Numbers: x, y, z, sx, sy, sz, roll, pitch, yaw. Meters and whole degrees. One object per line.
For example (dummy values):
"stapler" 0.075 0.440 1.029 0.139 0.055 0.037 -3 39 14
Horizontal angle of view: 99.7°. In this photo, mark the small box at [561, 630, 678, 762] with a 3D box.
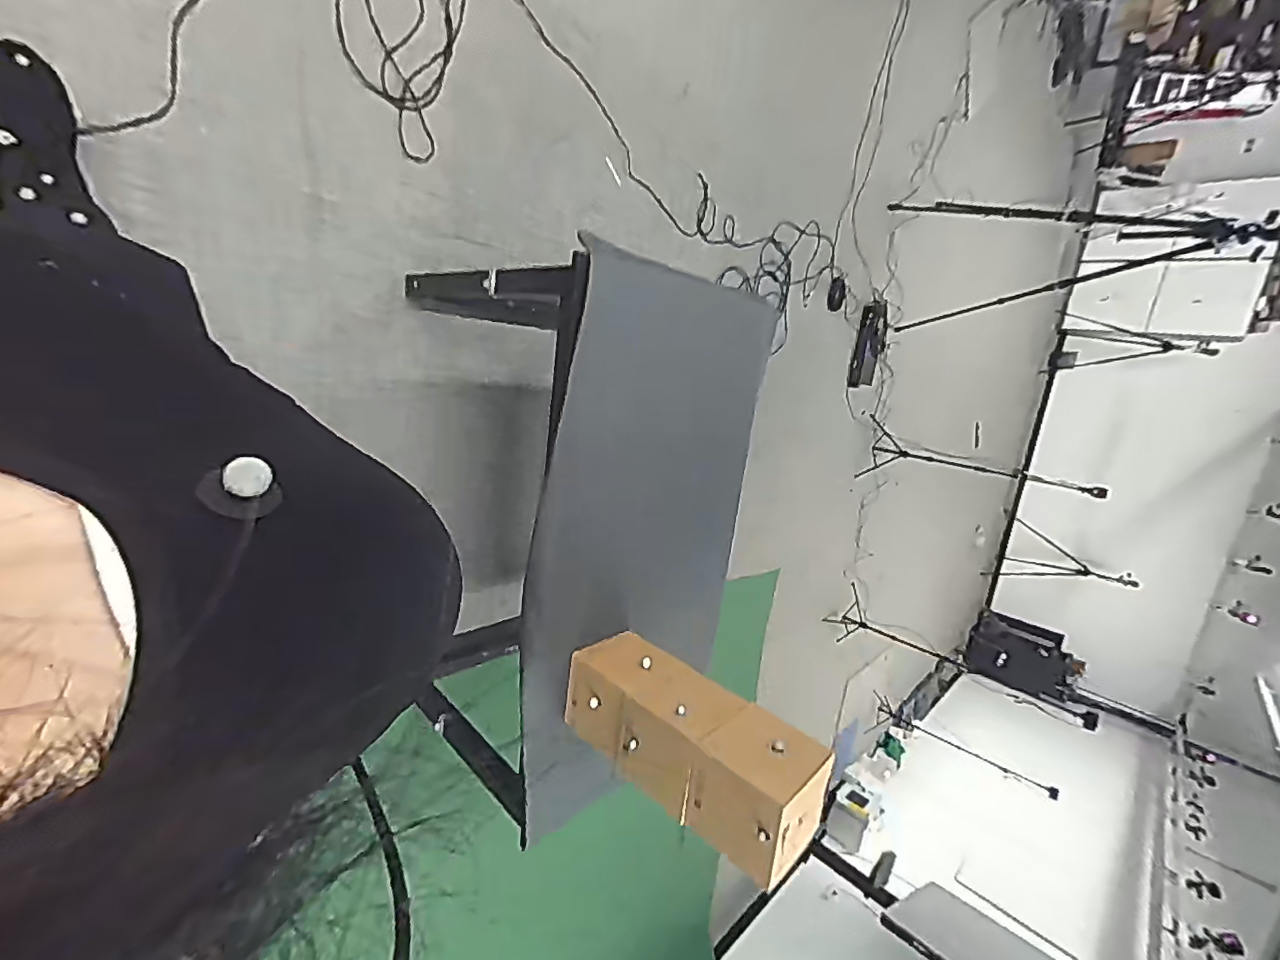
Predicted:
"small box" -0.046 0.440 1.134 0.179 0.176 0.168 -6 108 -47

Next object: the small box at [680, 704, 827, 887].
"small box" 0.191 0.517 0.920 0.179 0.176 0.168 -11 111 -47
